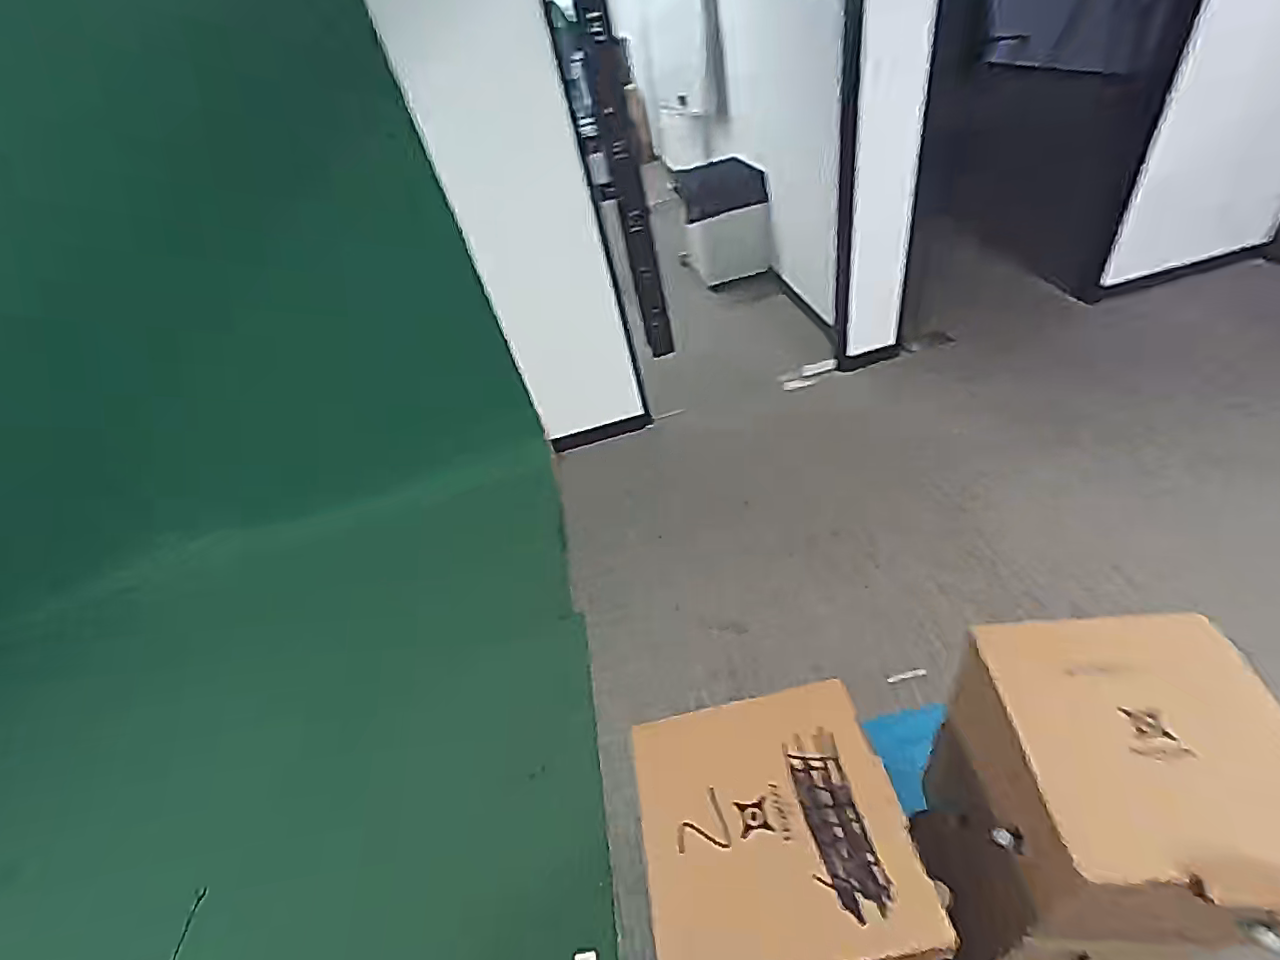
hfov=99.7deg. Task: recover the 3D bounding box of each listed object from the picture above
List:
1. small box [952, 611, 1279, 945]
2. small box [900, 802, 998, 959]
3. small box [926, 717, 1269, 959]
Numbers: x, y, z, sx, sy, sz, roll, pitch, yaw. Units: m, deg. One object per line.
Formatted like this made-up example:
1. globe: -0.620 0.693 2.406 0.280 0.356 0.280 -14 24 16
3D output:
1. small box: 0.361 0.223 0.407 0.168 0.176 0.179 -6 41 11
2. small box: 0.418 0.472 0.609 0.168 0.176 0.179 -13 42 3
3. small box: 0.394 0.343 0.513 0.168 0.176 0.179 -8 41 10
